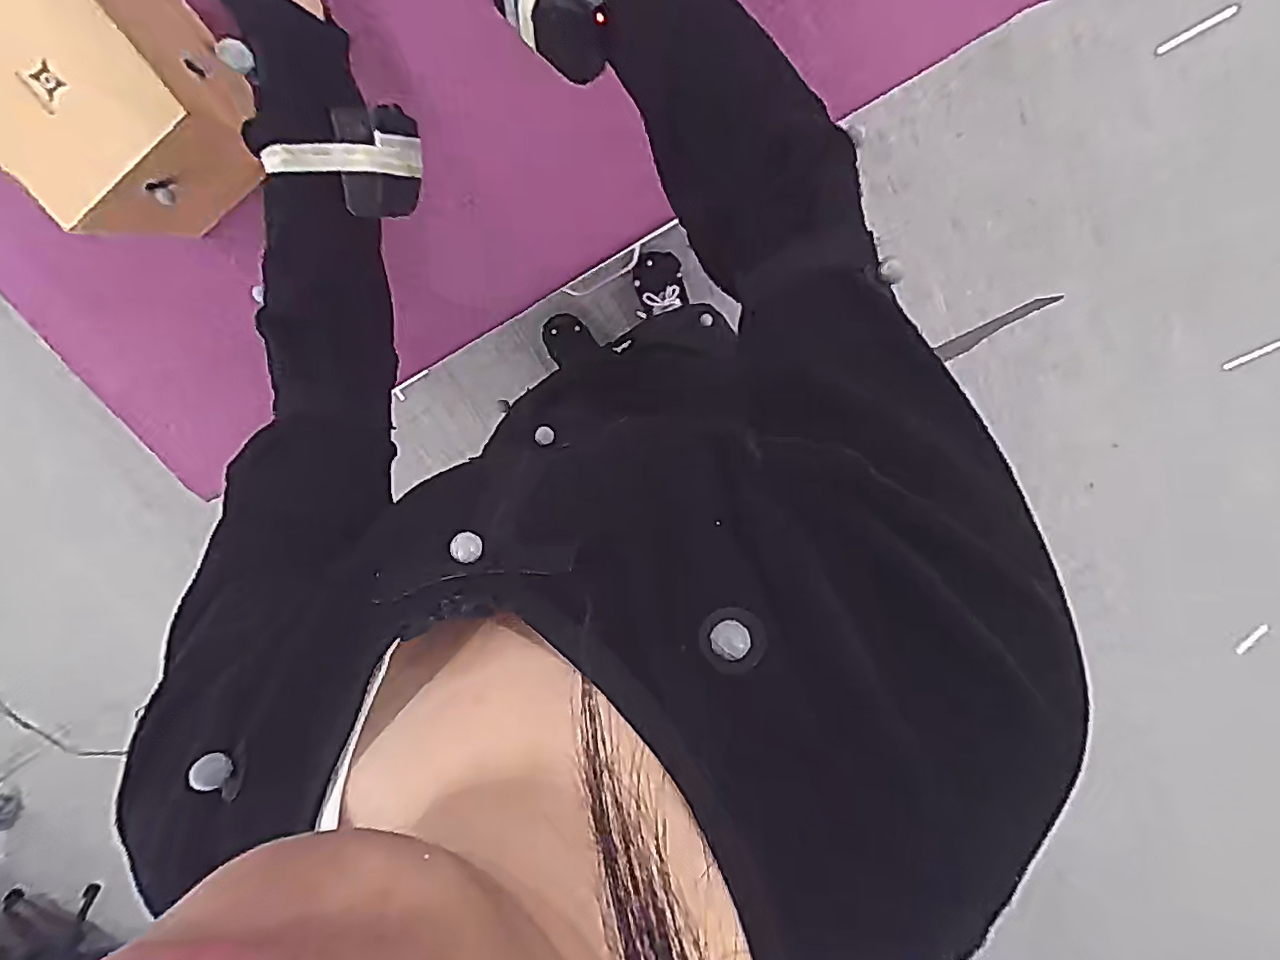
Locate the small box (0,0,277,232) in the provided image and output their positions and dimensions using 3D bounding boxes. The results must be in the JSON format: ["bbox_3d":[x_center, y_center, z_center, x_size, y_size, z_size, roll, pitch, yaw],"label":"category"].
[{"bbox_3d":[-0.506,-0.369,0.531,0.179,0.176,0.168,-30,110,13],"label":"small box"}]
